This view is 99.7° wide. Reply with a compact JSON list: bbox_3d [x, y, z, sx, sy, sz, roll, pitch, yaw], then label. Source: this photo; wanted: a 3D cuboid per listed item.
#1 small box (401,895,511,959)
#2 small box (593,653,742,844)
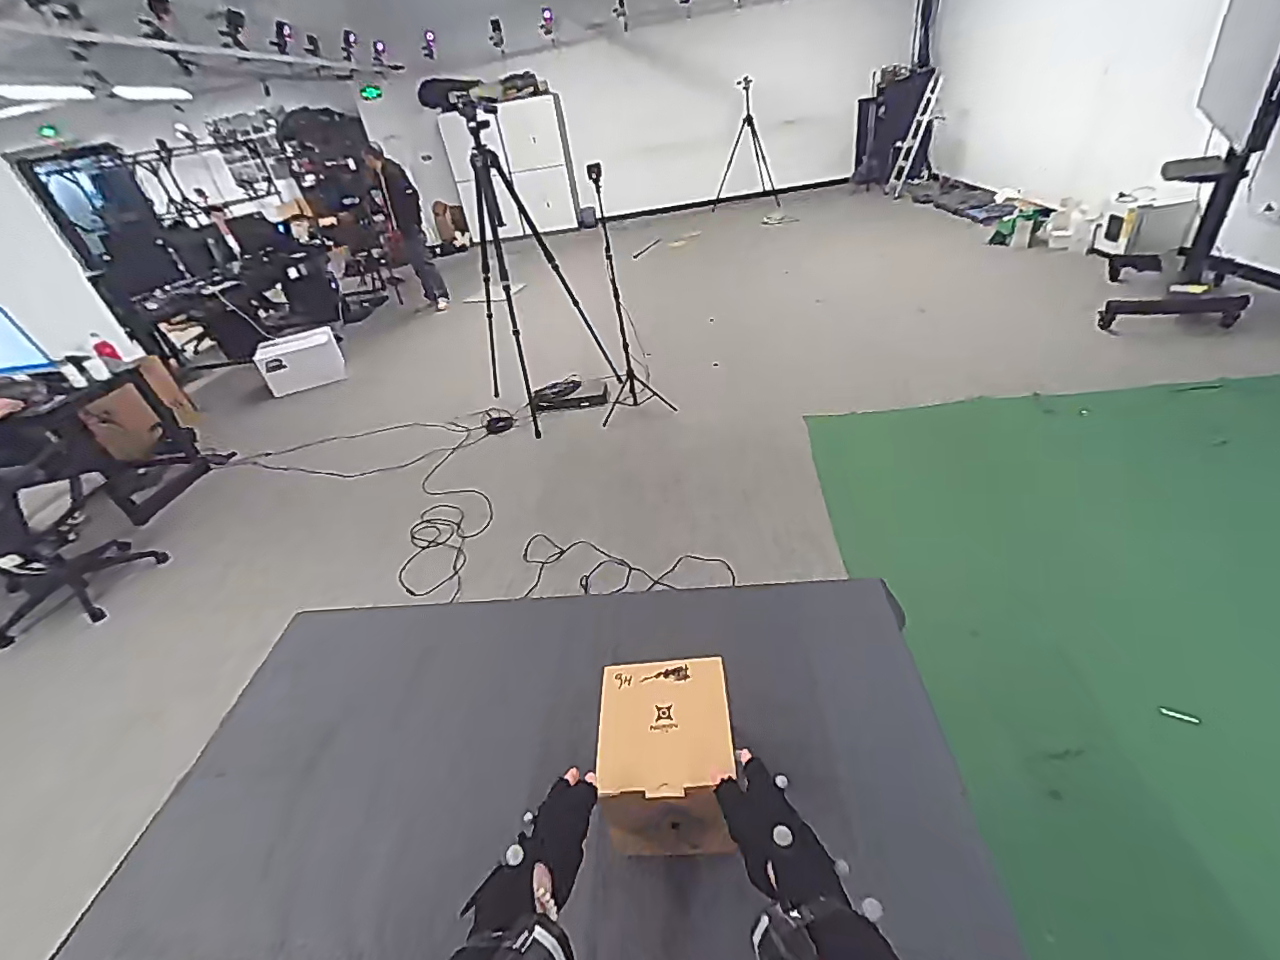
[{"bbox_3d":[-0.391,1.027,1.143,0.168,0.176,0.179,-1,35,15],"label":"small box"},{"bbox_3d":[0.041,0.357,0.714,0.168,0.176,0.179,-6,35,6],"label":"small box"}]
